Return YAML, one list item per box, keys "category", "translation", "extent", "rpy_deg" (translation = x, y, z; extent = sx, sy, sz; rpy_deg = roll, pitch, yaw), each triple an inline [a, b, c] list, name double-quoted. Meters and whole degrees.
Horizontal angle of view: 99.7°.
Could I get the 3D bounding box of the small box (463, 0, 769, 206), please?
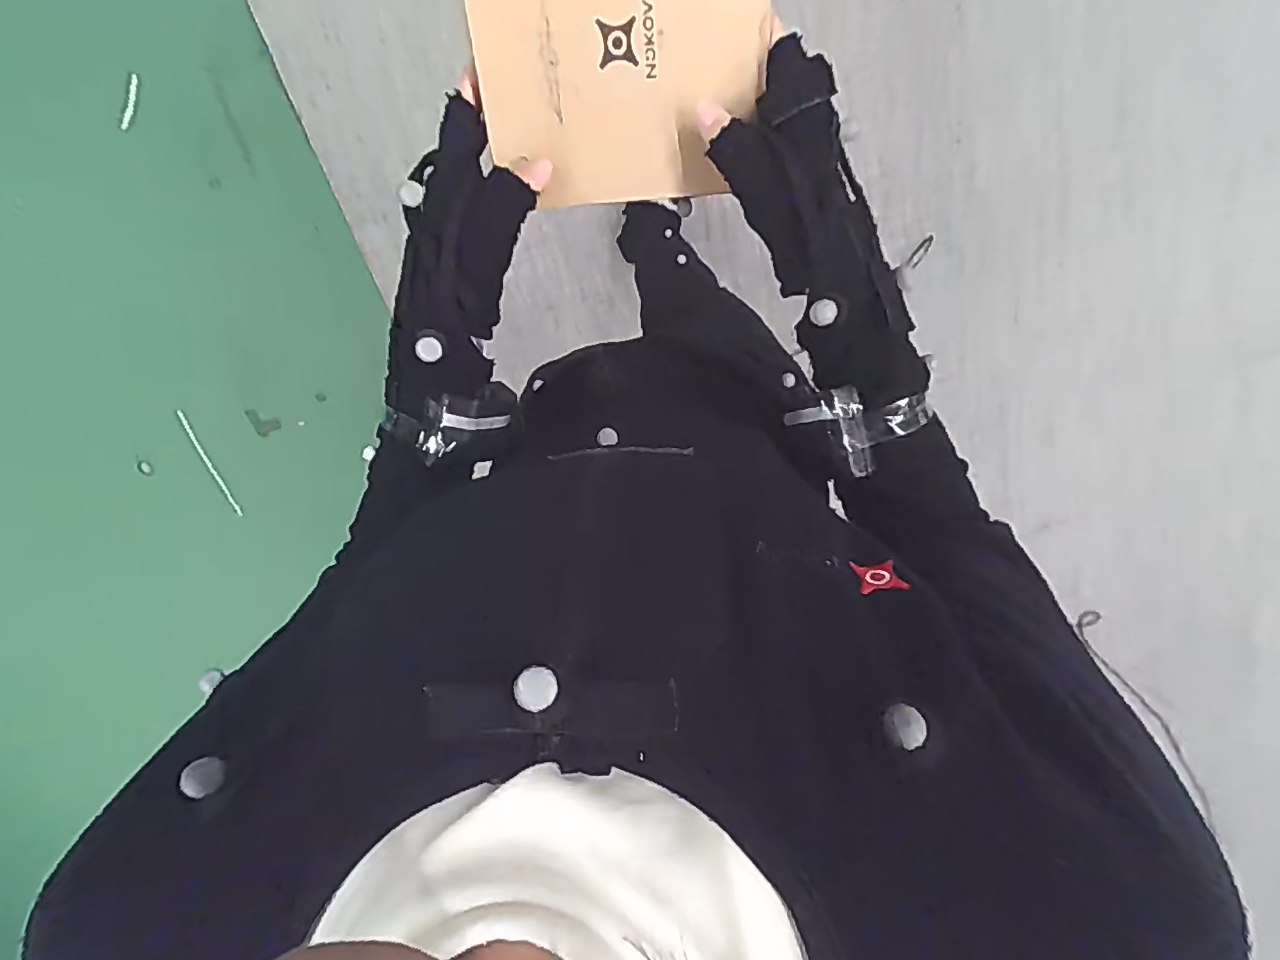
- category: "small box"
  translation: [-0.017, -0.296, 0.383]
  extent: [0.179, 0.176, 0.168]
  rpy_deg: [-7, 117, 0]
